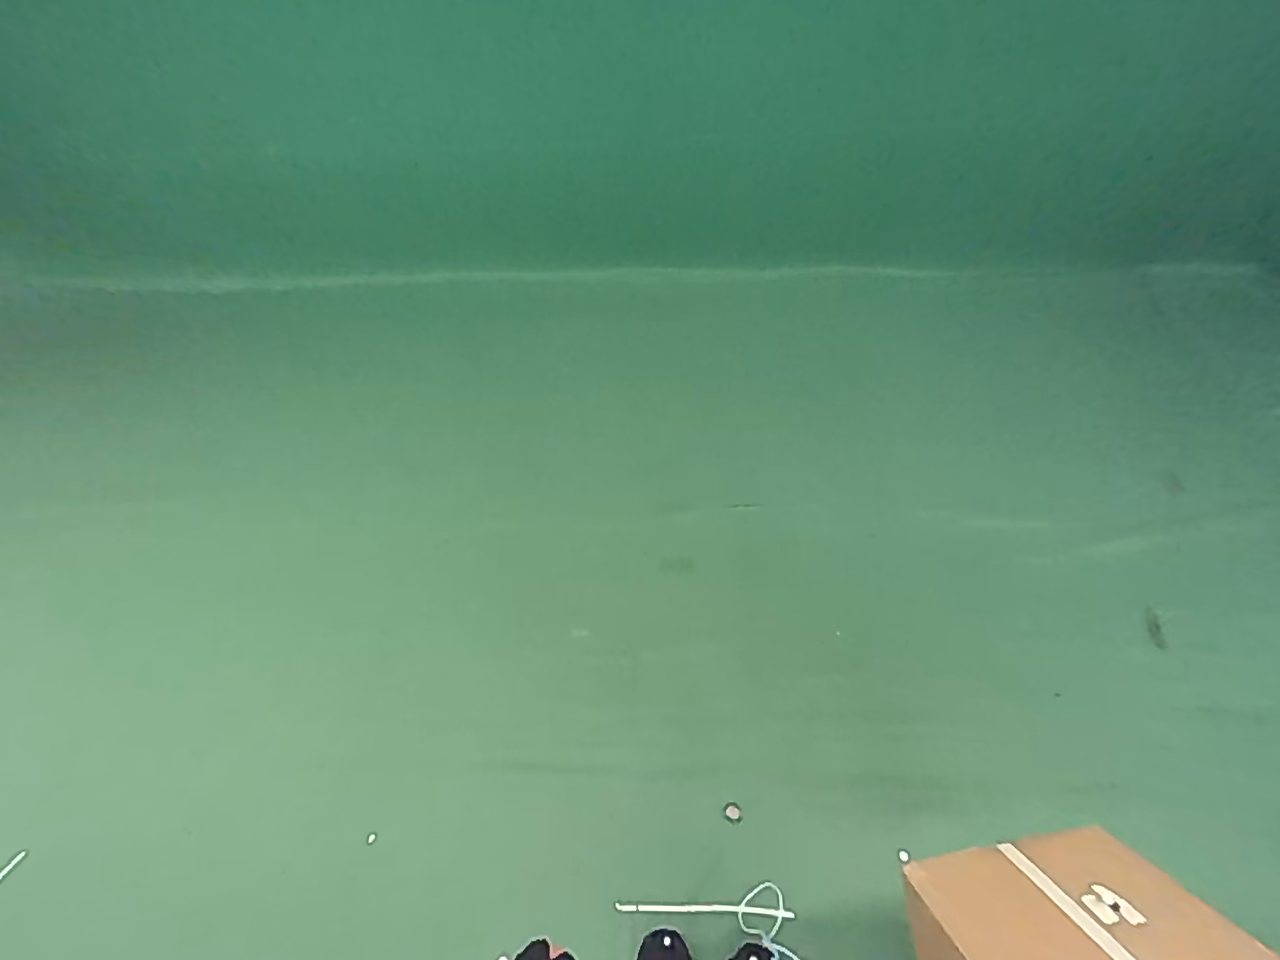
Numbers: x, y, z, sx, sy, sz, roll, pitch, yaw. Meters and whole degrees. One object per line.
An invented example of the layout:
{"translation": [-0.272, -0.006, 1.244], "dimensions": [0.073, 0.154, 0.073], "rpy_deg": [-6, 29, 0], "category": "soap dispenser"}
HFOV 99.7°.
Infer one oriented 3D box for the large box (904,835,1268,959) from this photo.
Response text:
{"translation": [0.576, 0.708, 0.613], "dimensions": [0.320, 0.408, 0.320], "rpy_deg": [-9, 90, -2], "category": "large box"}
